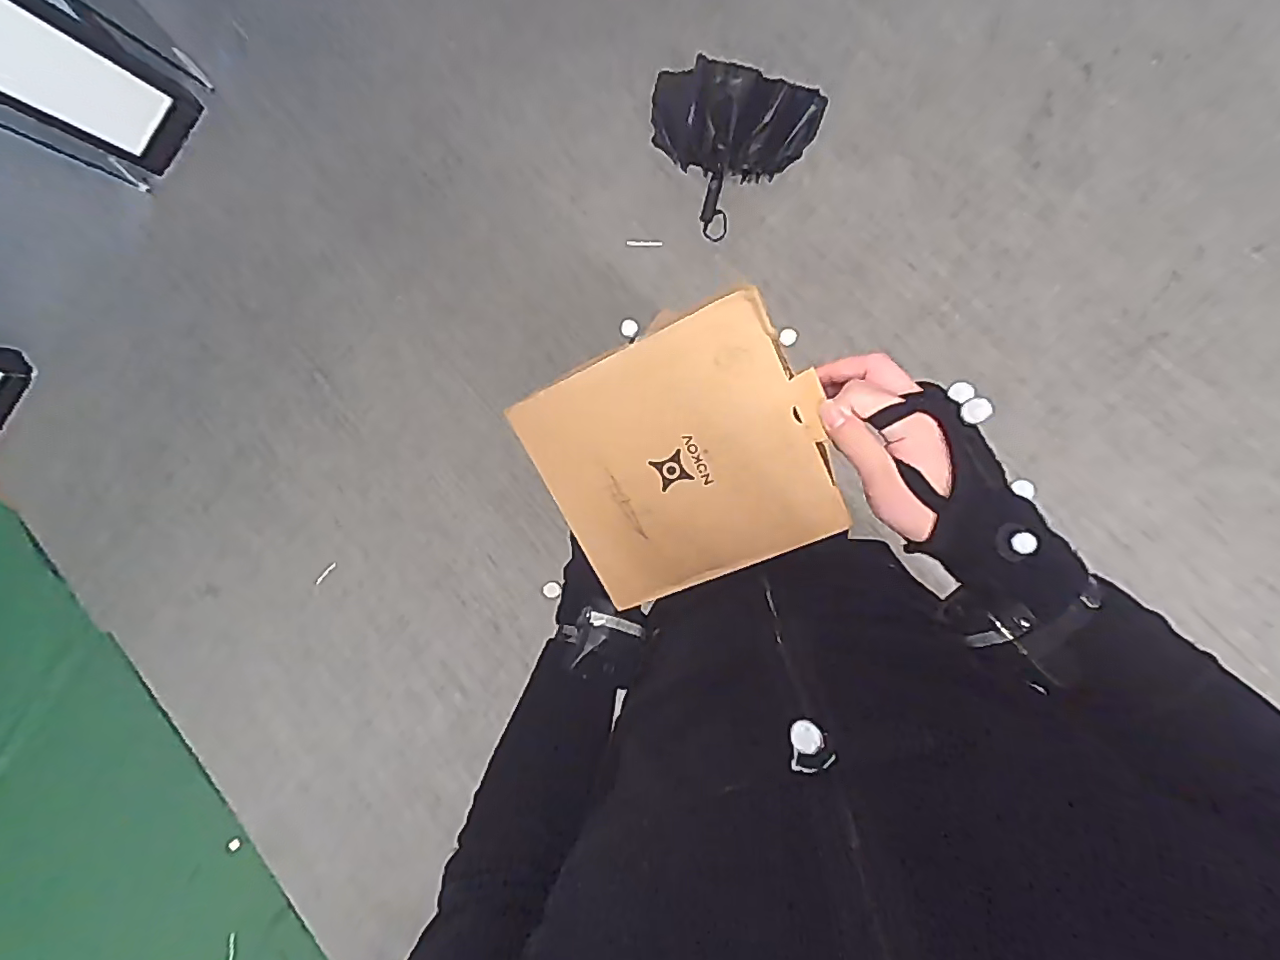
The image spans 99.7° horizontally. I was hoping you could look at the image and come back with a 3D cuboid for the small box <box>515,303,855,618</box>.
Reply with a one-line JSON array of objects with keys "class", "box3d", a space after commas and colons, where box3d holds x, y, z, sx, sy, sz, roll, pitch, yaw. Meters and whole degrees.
[{"class": "small box", "box3d": [0.040, -0.027, 0.425, 0.179, 0.176, 0.168, -24, 102, 18]}]
